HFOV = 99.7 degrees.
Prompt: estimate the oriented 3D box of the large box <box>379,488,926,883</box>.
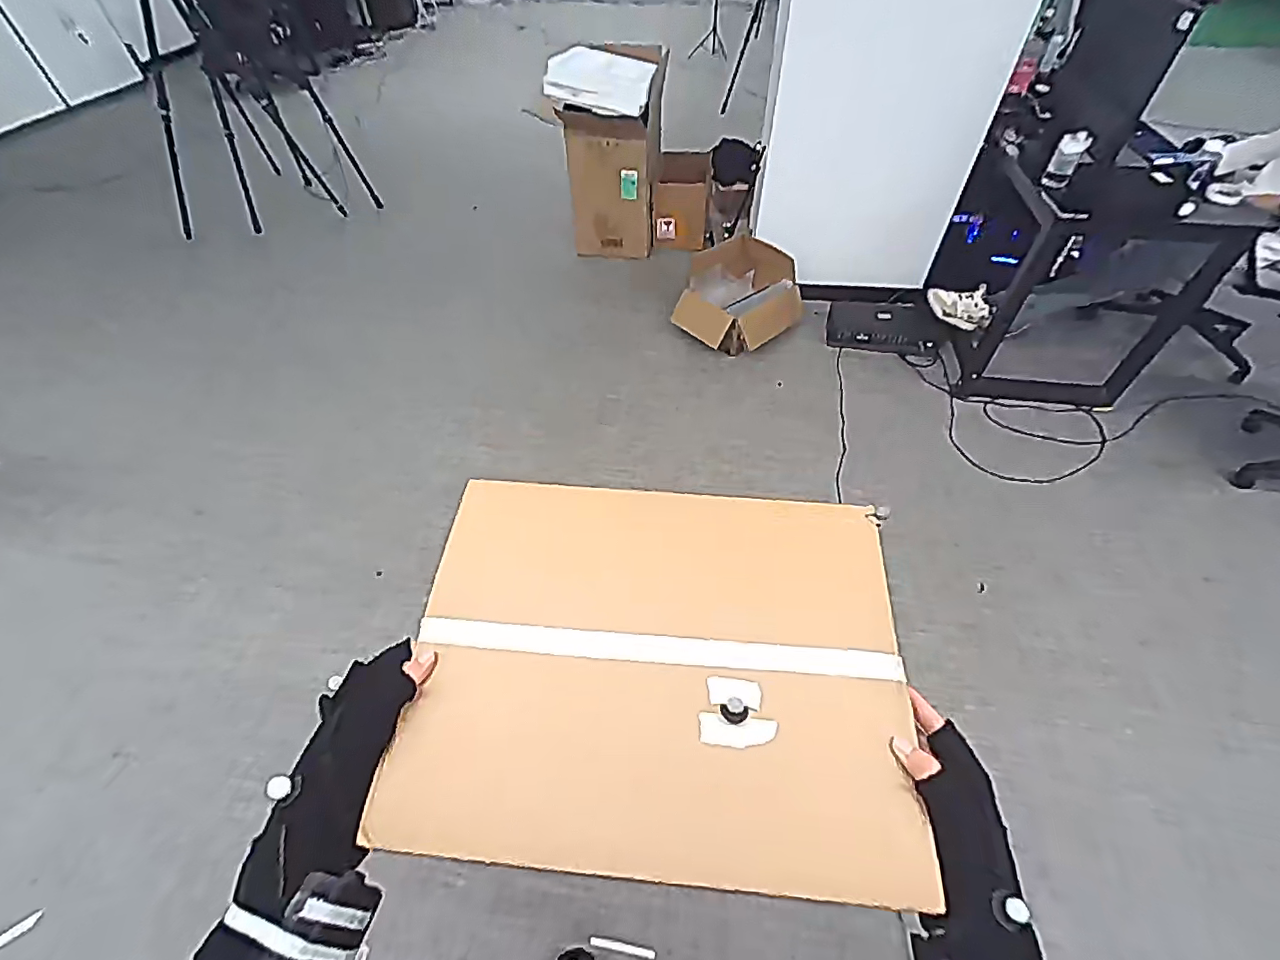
[{"bbox_3d":[0.016,0.229,0.592,0.408,0.320,0.320,4,56,4],"label":"large box"}]
